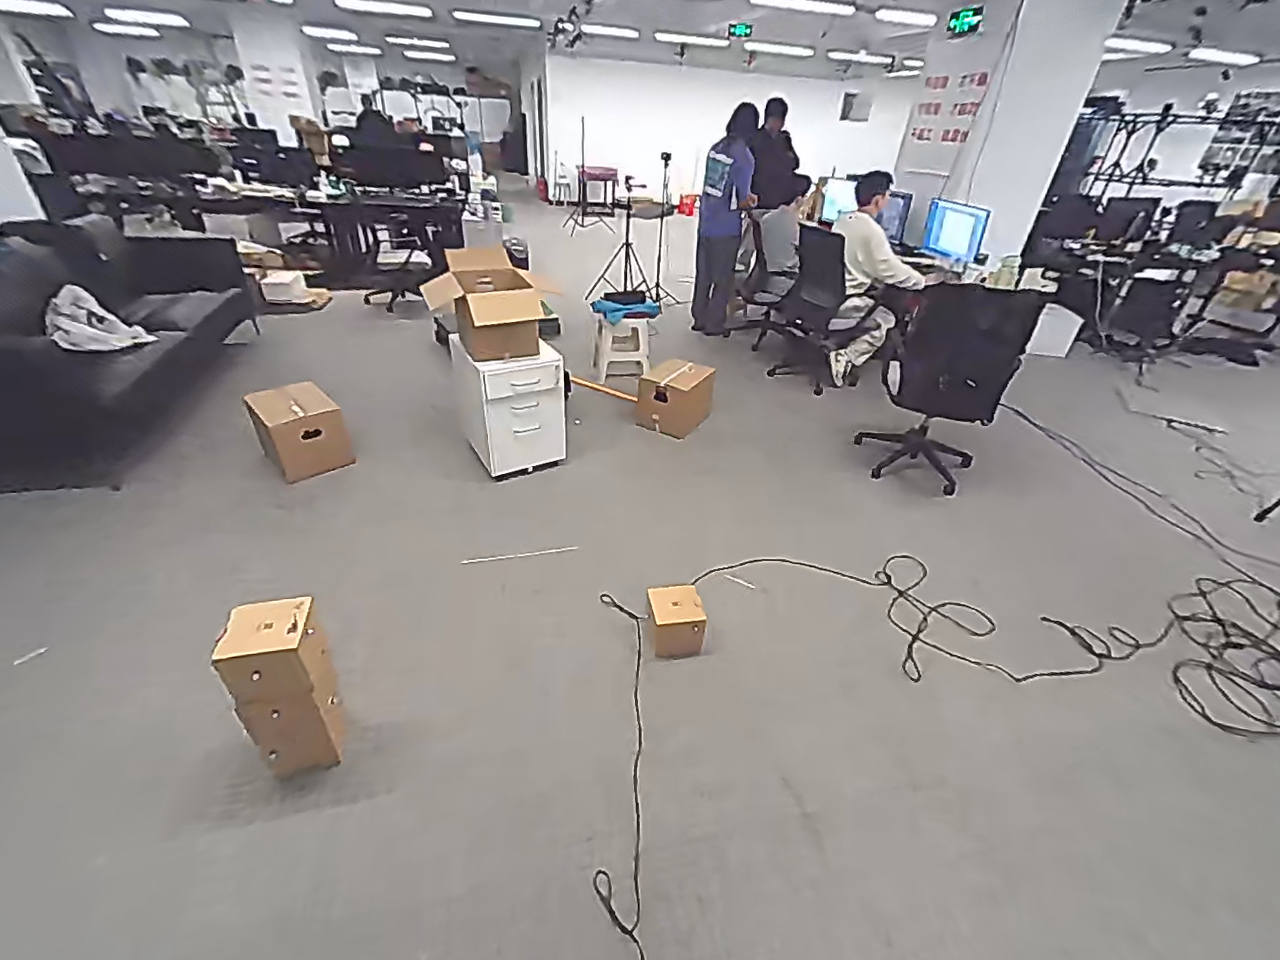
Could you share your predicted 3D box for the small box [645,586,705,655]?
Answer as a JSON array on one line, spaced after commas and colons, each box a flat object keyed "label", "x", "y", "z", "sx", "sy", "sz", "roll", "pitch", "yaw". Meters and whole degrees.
[{"label": "small box", "x": 0.116, "y": 0.495, "z": 1.896, "sx": 0.179, "sy": 0.176, "sz": 0.168, "roll": -3, "pitch": 34, "yaw": -12}]

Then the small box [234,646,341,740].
[{"label": "small box", "x": -0.910, "y": 0.551, "z": 1.414, "sx": 0.179, "sy": 0.176, "sz": 0.168, "roll": -5, "pitch": 35, "yaw": -15}]

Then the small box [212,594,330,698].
[{"label": "small box", "x": -0.896, "y": 0.410, "z": 1.331, "sx": 0.179, "sy": 0.176, "sz": 0.168, "roll": -6, "pitch": 35, "yaw": -14}]
